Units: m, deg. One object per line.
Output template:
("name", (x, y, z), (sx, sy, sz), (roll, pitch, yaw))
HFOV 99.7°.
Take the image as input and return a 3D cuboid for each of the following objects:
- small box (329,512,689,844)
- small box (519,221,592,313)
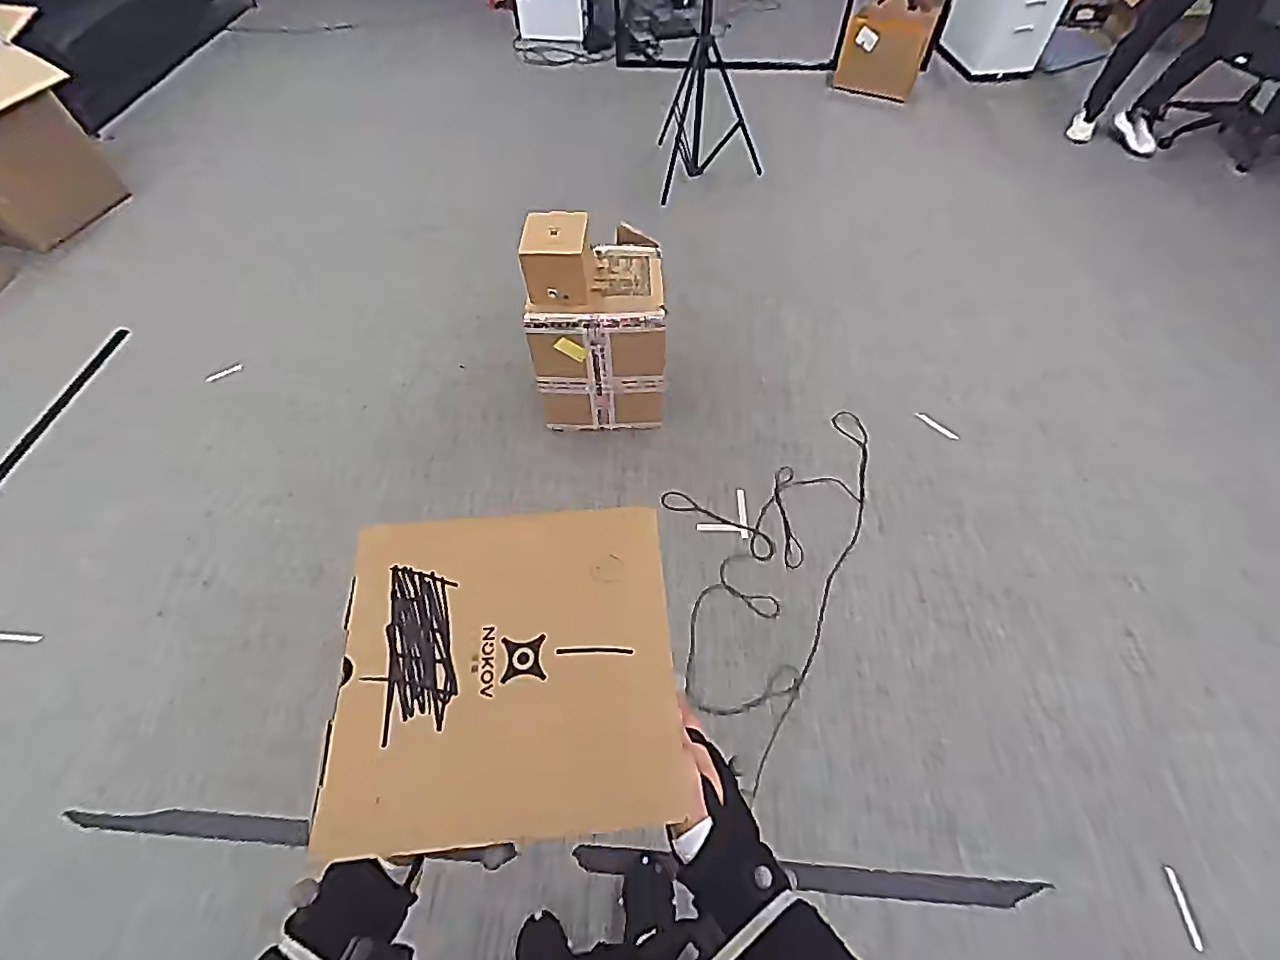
("small box", (-0.069, 0.135, 0.366), (0.179, 0.176, 0.168), (-4, 62, -4))
("small box", (-0.225, -0.586, 1.489), (0.168, 0.176, 0.179), (1, 60, 3))
